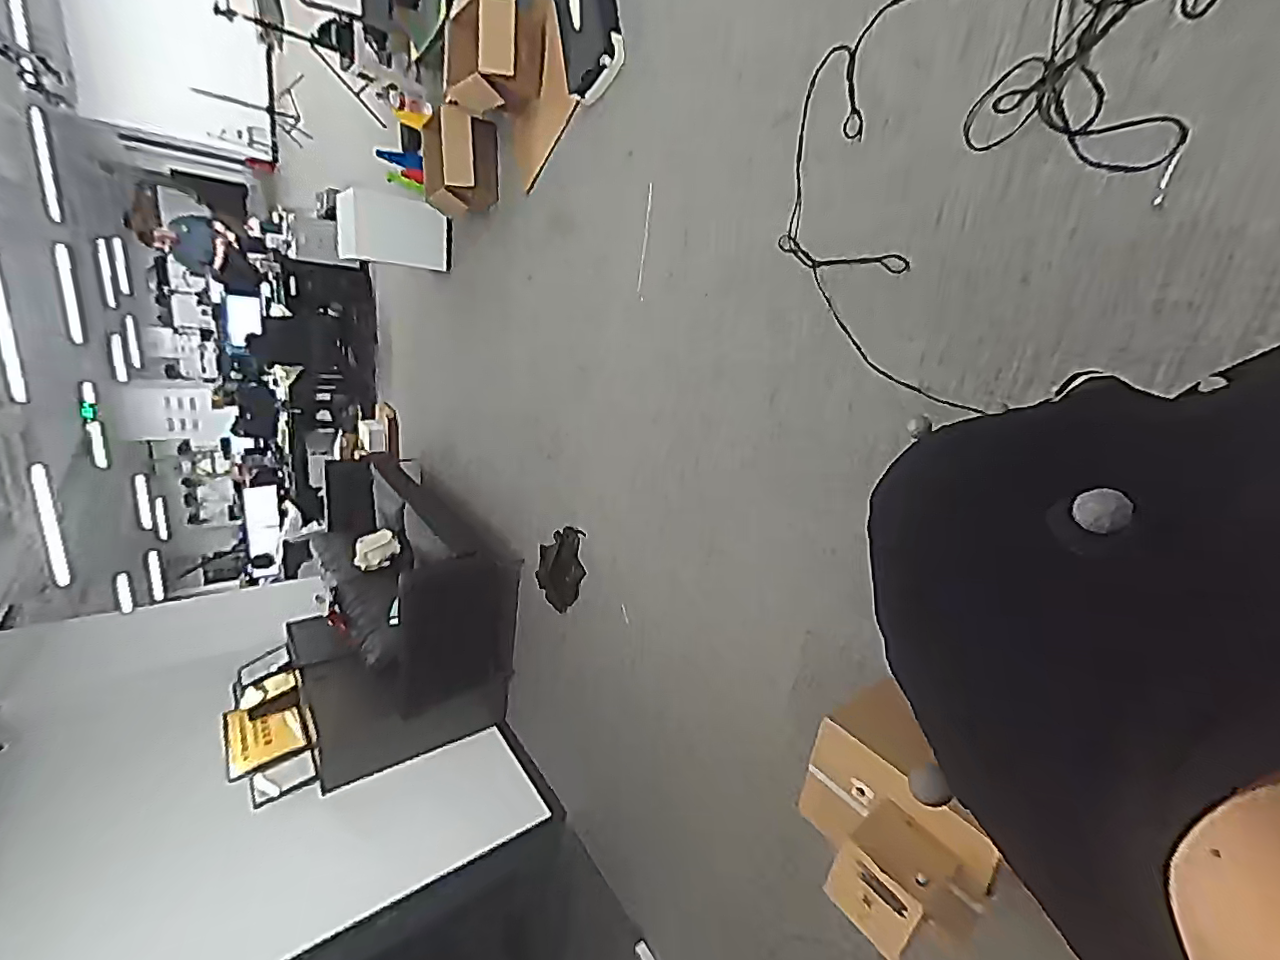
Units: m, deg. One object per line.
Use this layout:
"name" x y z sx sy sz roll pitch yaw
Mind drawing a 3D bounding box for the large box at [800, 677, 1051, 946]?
"large box" 0.675 0.760 1.314 0.408 0.320 0.320 29 117 48
